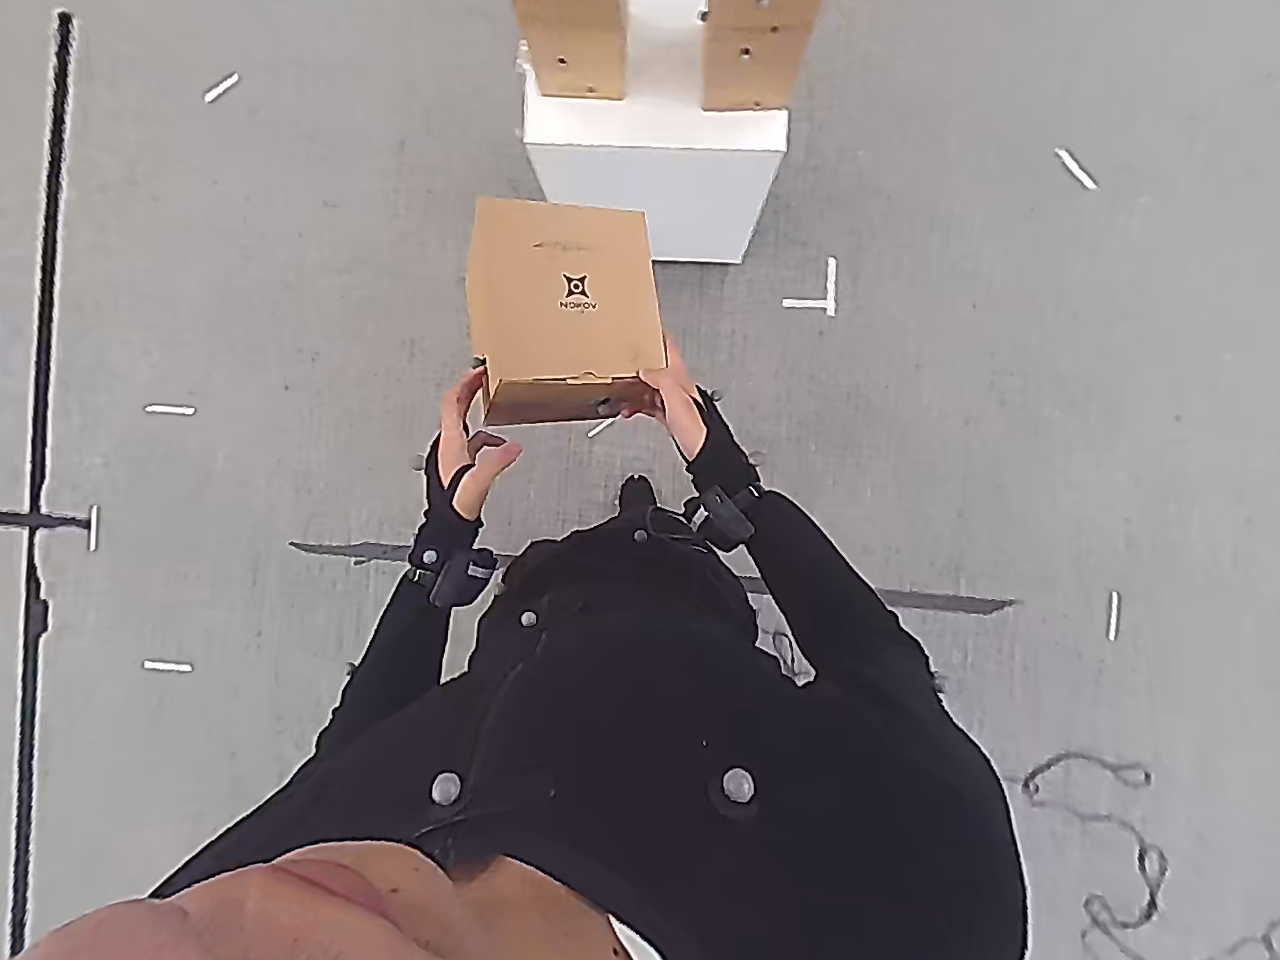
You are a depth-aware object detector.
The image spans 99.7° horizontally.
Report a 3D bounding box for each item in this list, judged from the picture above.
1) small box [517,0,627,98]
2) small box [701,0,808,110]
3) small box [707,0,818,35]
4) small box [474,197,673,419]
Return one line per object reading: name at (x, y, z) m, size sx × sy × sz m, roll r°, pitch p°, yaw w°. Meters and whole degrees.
small box at (-0.113, -0.823, 0.965) m, size 0.168 × 0.176 × 0.179 m, roll 4°, pitch 90°, yaw 1°
small box at (0.195, -0.795, 0.952) m, size 0.168 × 0.176 × 0.179 m, roll 1°, pitch 90°, yaw 3°
small box at (0.188, -0.794, 0.787) m, size 0.168 × 0.176 × 0.179 m, roll 2°, pitch 90°, yaw 2°
small box at (-0.081, -0.167, 0.582) m, size 0.168 × 0.176 × 0.179 m, roll -6°, pitch 84°, yaw -23°
